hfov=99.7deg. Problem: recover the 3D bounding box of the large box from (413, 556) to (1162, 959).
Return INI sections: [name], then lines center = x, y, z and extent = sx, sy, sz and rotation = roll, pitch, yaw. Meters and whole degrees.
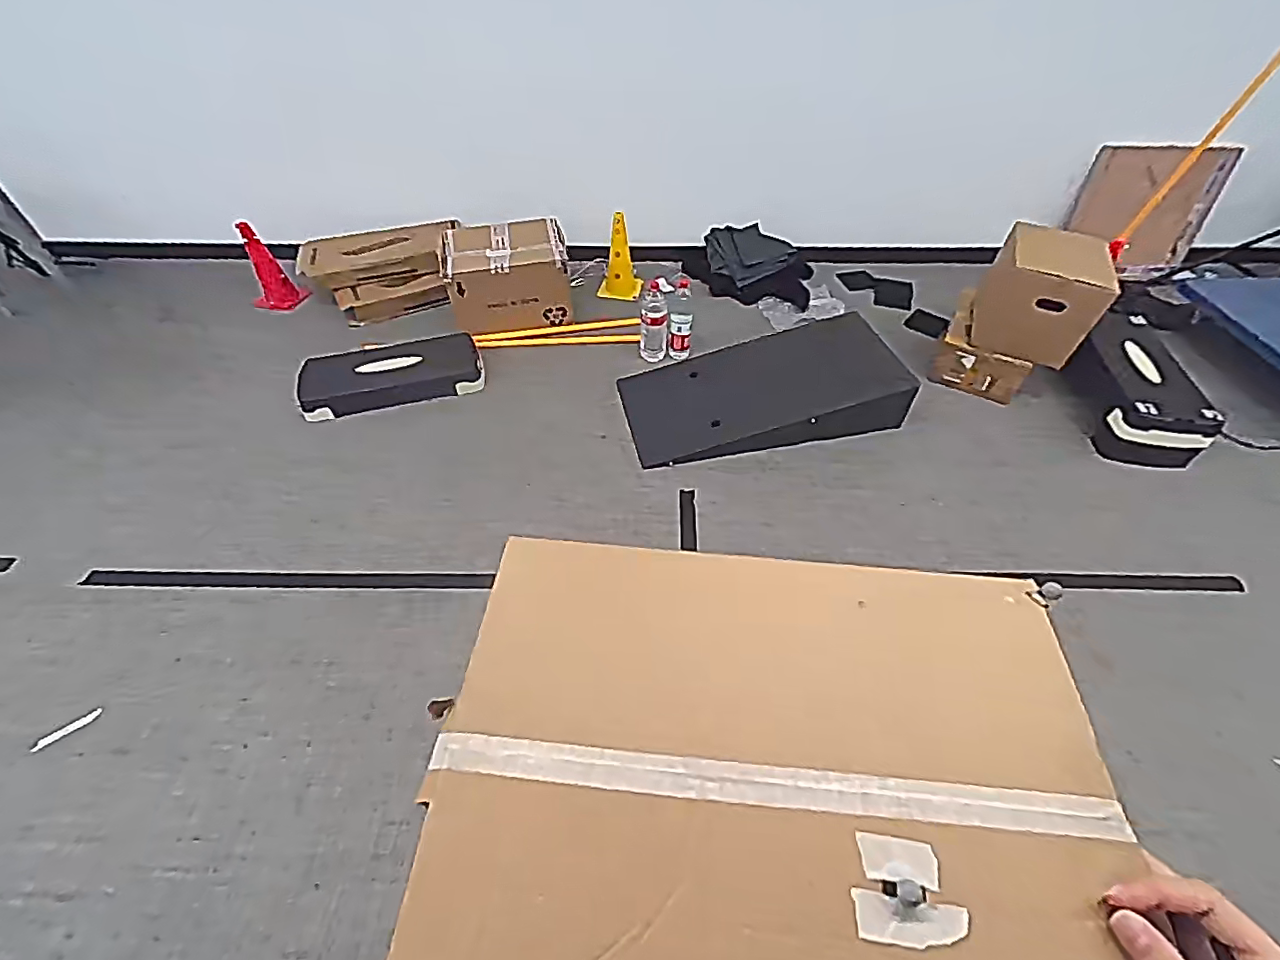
[large box]
center = 0.081, 0.285, 0.450
extent = 0.408, 0.320, 0.320
rotation = 4, 53, 3
